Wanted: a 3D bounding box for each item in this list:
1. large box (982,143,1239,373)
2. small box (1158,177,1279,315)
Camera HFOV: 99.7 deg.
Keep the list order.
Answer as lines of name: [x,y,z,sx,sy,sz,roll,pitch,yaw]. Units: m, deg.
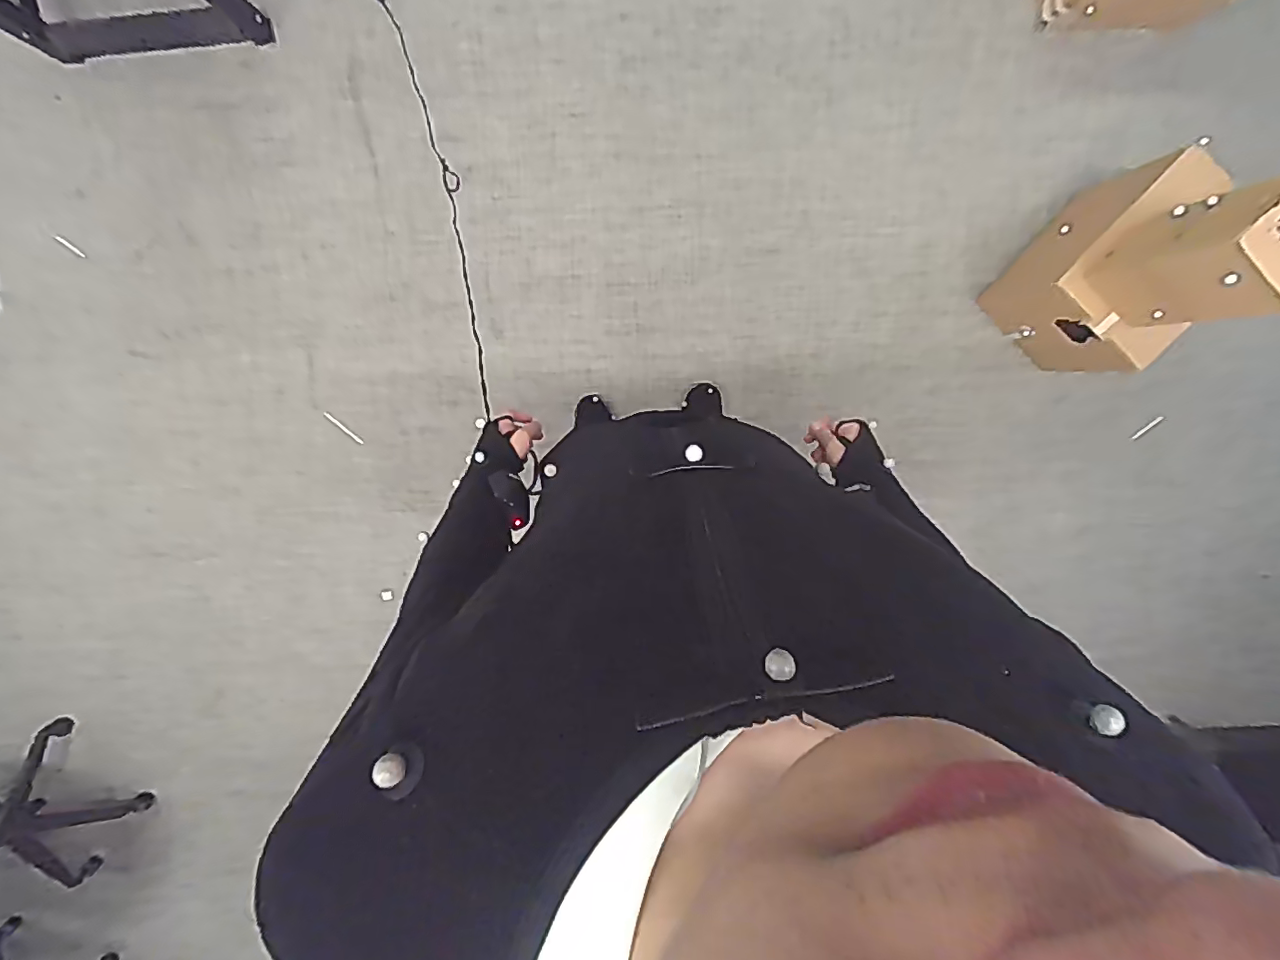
large box: [1.204,-0.527,1.382,0.320,0.320,0.408,40,97,-7]
small box: [1.125,-0.421,0.985,0.179,0.176,0.168,42,98,-7]
